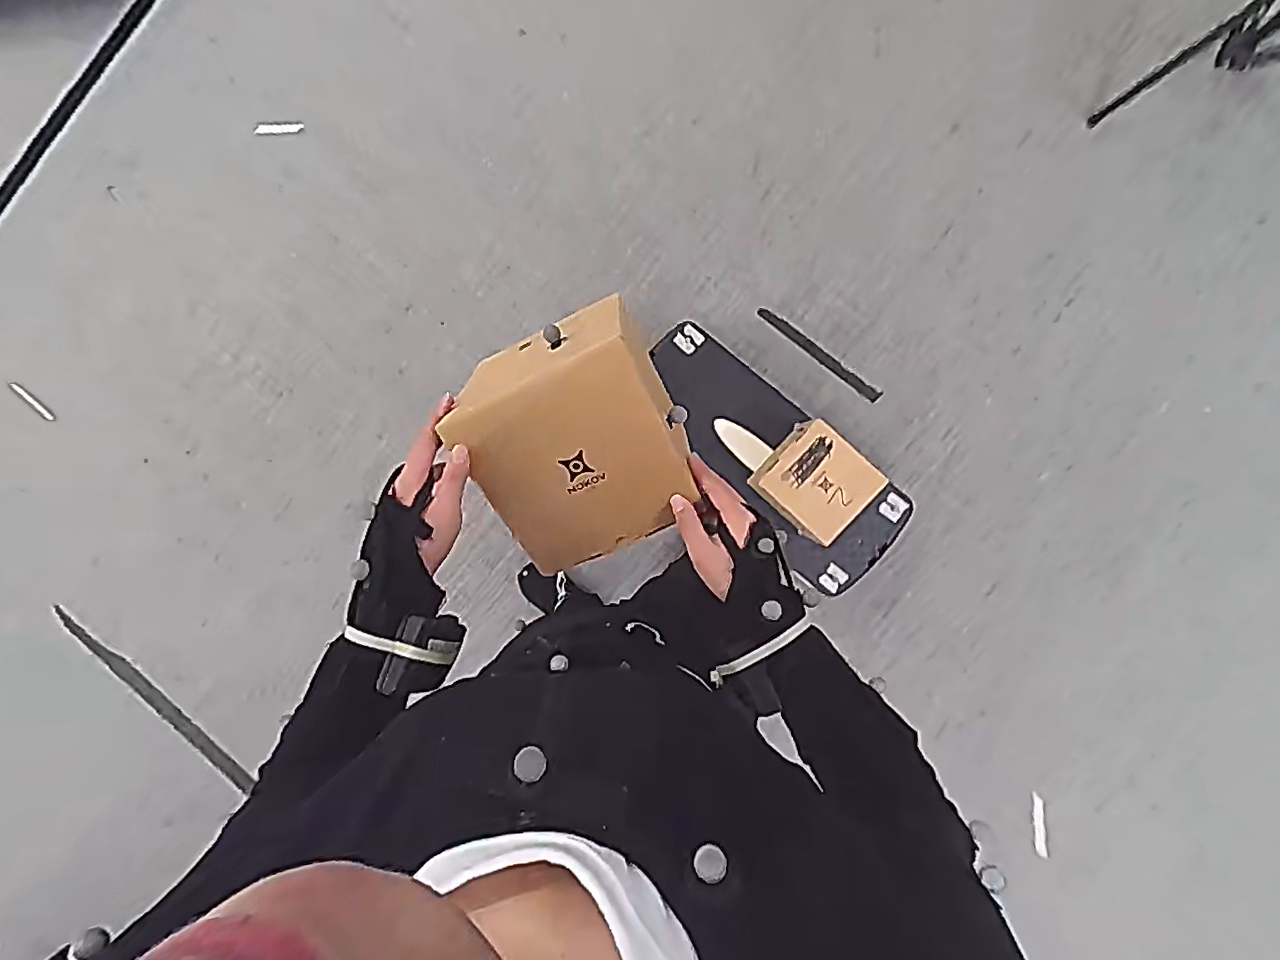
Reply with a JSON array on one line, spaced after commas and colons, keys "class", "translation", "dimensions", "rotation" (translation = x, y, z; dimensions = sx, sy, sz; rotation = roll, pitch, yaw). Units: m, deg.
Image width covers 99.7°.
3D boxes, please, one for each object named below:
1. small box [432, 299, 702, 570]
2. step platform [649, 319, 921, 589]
[{"class": "small box", "translation": [-0.060, -0.054, 0.514], "dimensions": [0.168, 0.176, 0.179], "rotation": [-24, 120, 10]}, {"class": "step platform", "translation": [0.285, -0.059, 1.250], "dimensions": [0.684, 0.204, 0.286], "rotation": [40, 92, 4]}]
